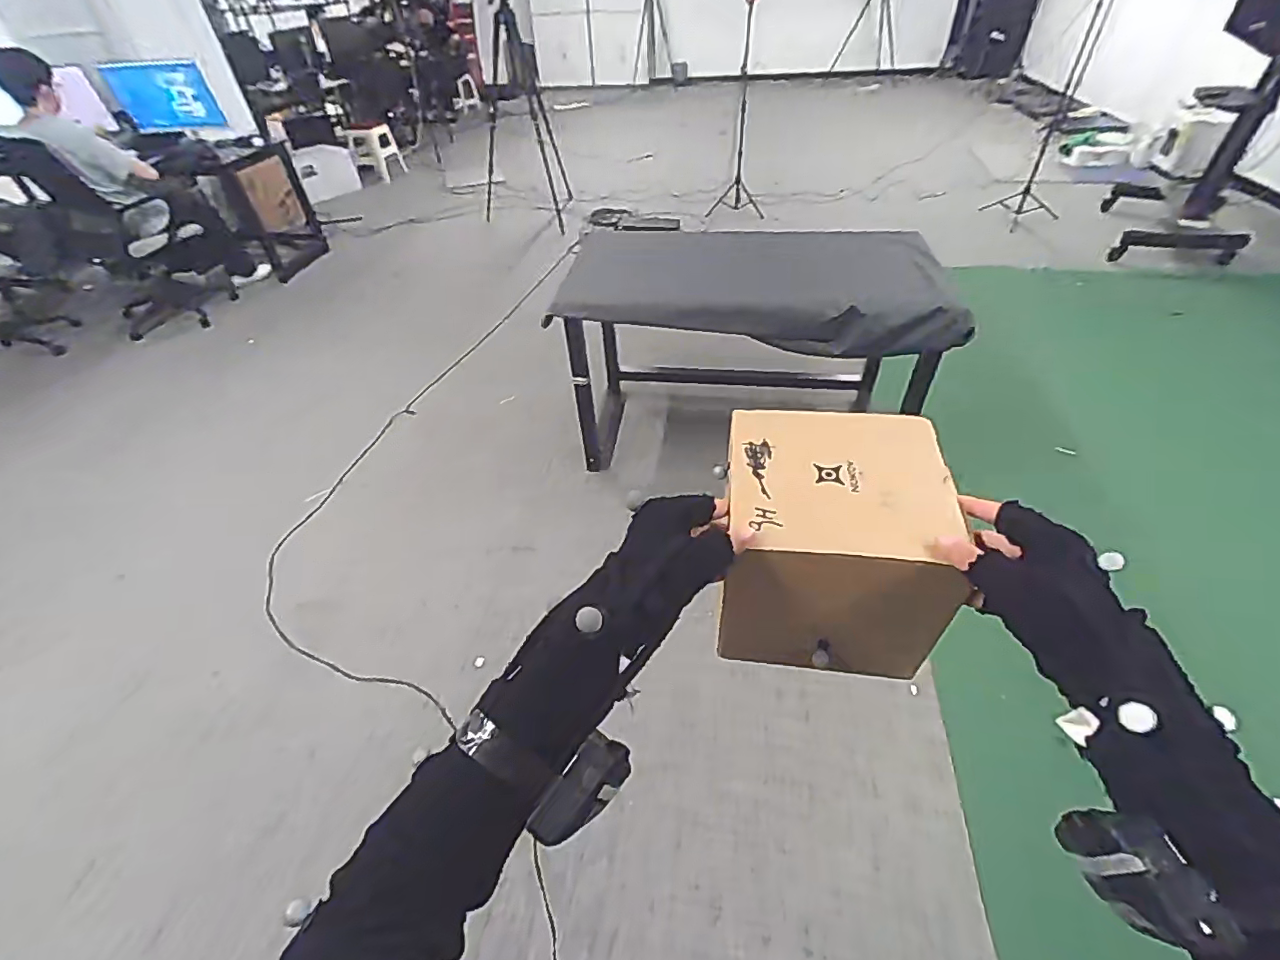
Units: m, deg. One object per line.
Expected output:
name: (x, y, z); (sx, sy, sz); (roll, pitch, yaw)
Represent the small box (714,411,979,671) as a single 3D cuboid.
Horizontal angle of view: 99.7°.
small box: (0.165, 0.057, 0.496); (0.179, 0.176, 0.168); (4, 45, 7)
